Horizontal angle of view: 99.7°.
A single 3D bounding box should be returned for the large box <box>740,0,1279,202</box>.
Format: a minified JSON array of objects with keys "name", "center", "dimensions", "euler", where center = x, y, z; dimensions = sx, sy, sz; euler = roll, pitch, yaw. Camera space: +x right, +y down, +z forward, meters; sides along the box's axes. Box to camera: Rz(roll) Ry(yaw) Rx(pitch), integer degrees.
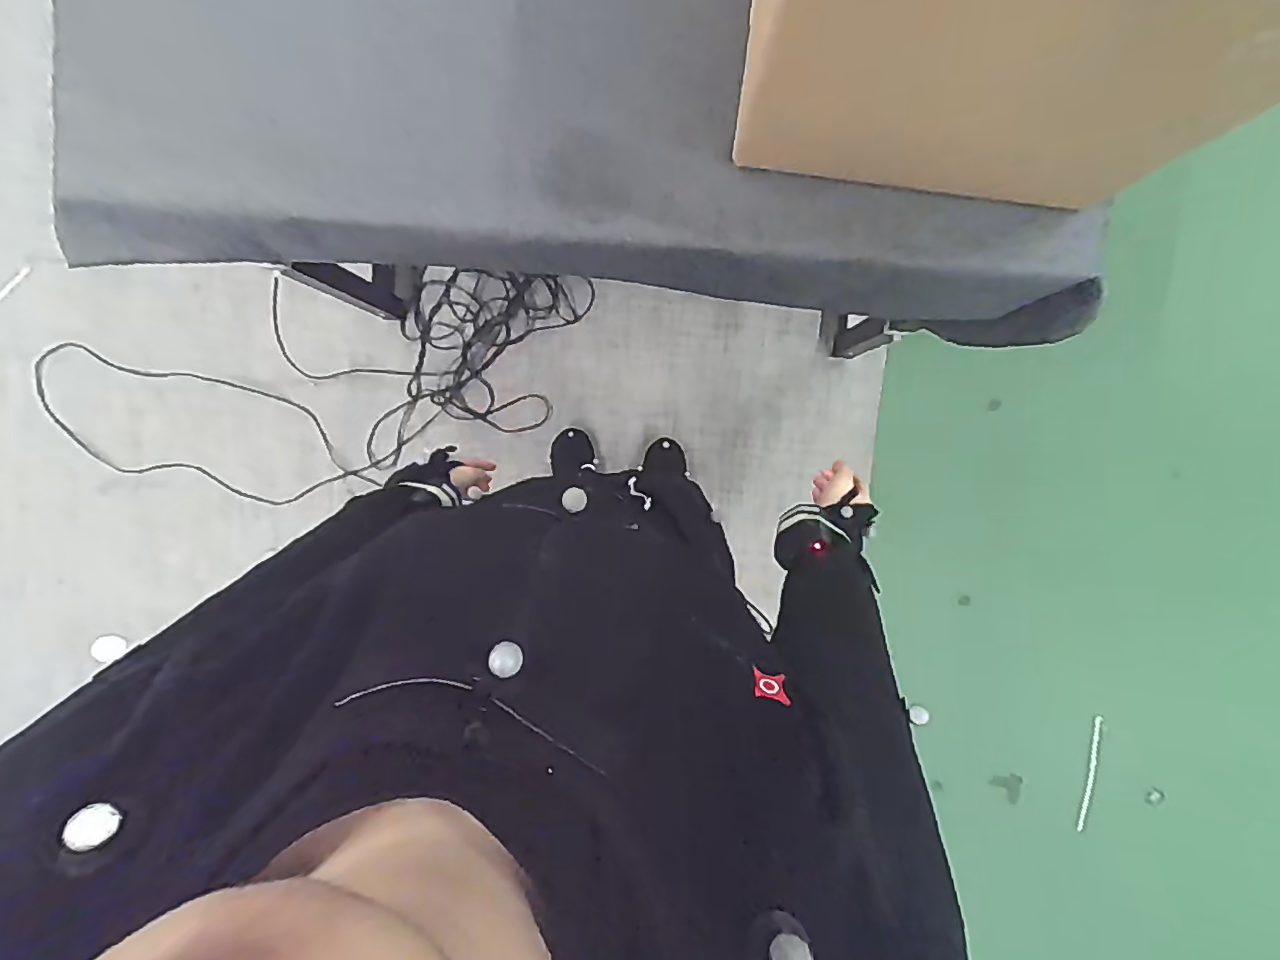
[{"name":"large box","center":[0.320,-0.472,0.451],"dimensions":[0.408,0.320,0.320],"euler":[7,94,0]}]
